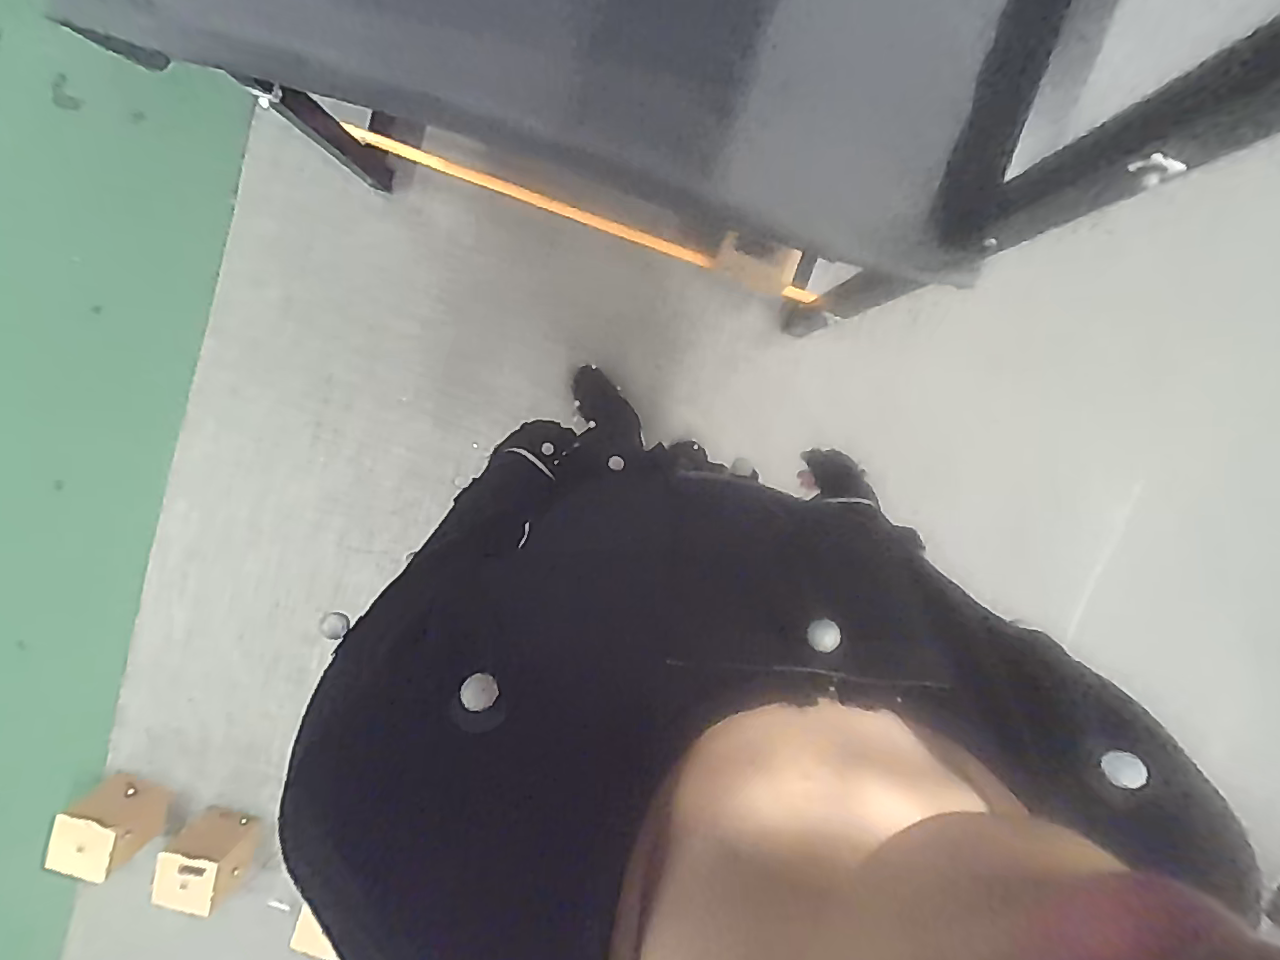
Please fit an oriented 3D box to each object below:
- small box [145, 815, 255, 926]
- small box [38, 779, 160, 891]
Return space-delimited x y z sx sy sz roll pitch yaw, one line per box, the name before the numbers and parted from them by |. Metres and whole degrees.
small box | -1.236 1.094 1.530 0.168 0.176 0.179 15 98 -1
small box | -1.509 0.991 1.519 0.168 0.176 0.179 19 97 -3
